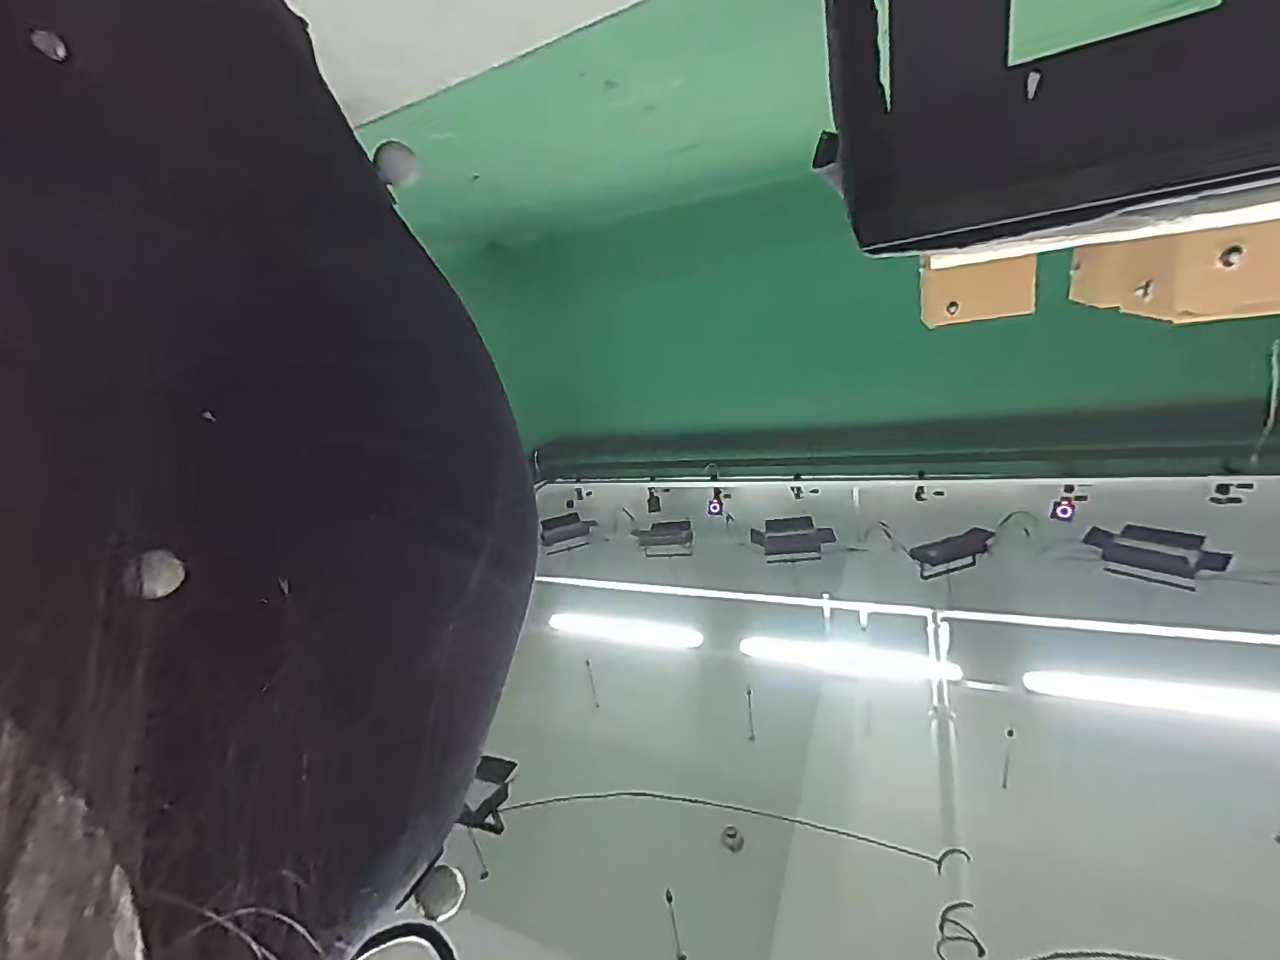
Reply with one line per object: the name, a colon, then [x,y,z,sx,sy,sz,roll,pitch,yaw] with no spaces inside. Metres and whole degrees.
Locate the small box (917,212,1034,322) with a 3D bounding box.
small box: [0.655,-0.421,1.070,0.179,0.176,0.168,-3,-160,23]
